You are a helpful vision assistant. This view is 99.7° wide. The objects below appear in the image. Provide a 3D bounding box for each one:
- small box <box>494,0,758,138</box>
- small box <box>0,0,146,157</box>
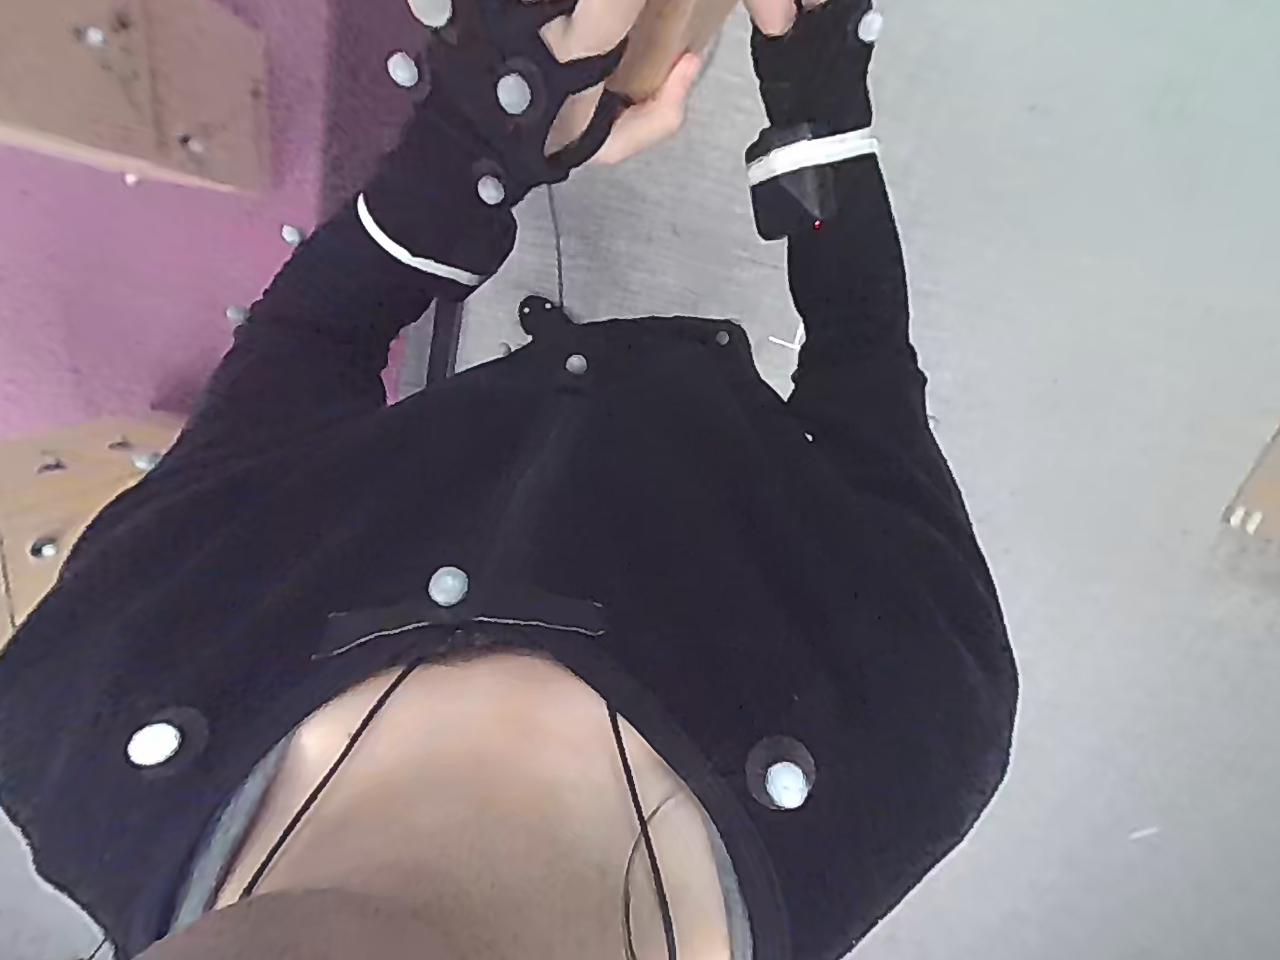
[{"bbox_3d":[0.008,-0.284,0.184,0.176,0.168,0.179,37,77,-13],"label":"small box"},{"bbox_3d":[-0.530,-0.361,0.400,0.179,0.176,0.168,10,109,-1],"label":"small box"}]
